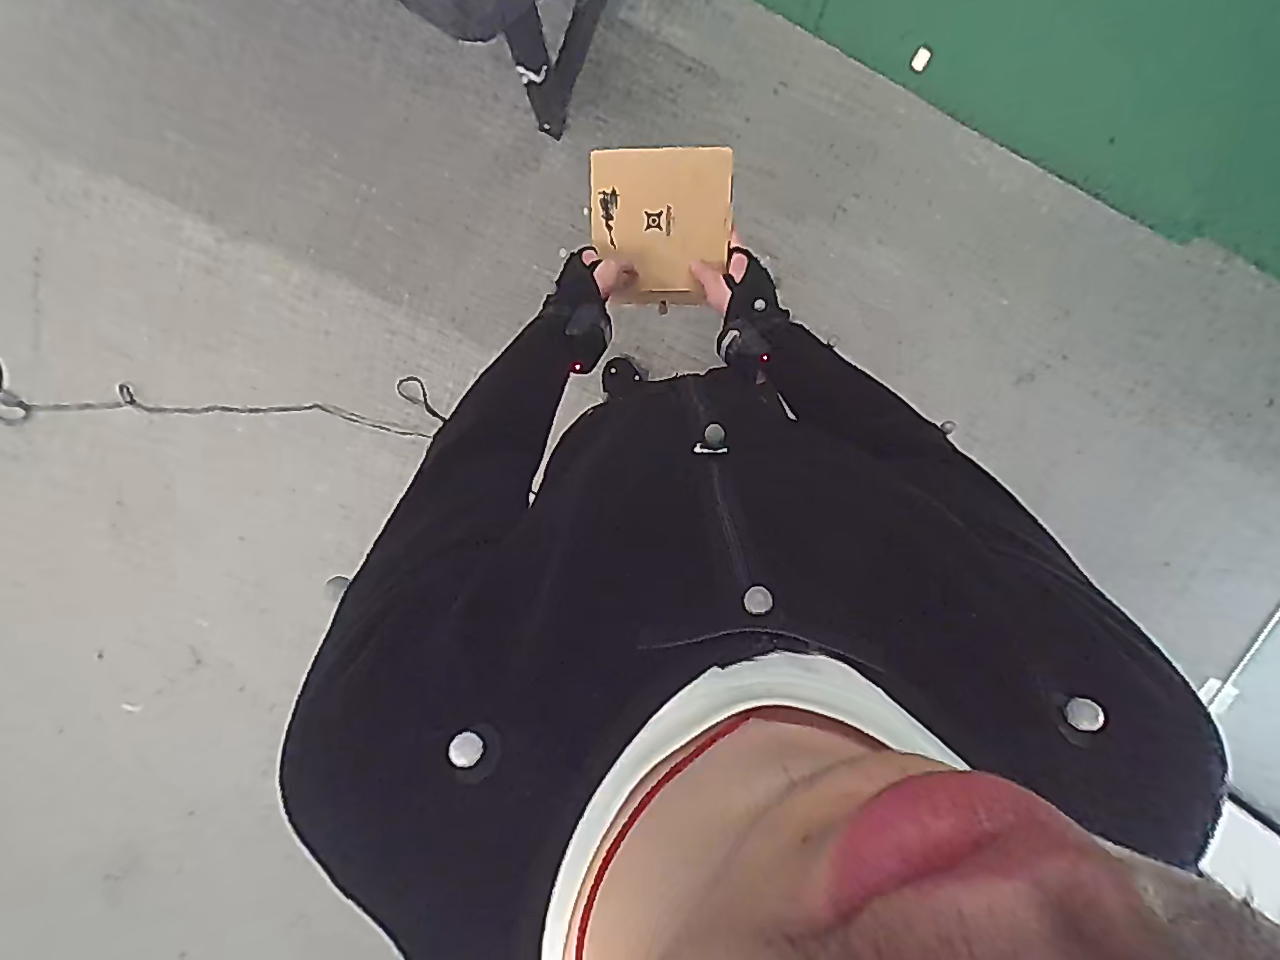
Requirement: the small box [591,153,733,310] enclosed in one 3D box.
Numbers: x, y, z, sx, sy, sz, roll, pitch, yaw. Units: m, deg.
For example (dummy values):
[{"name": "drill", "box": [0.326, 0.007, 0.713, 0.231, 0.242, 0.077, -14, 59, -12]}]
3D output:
[{"name": "small box", "box": [0.029, -0.333, 0.749, 0.179, 0.176, 0.168, 1, 101, 3]}]
